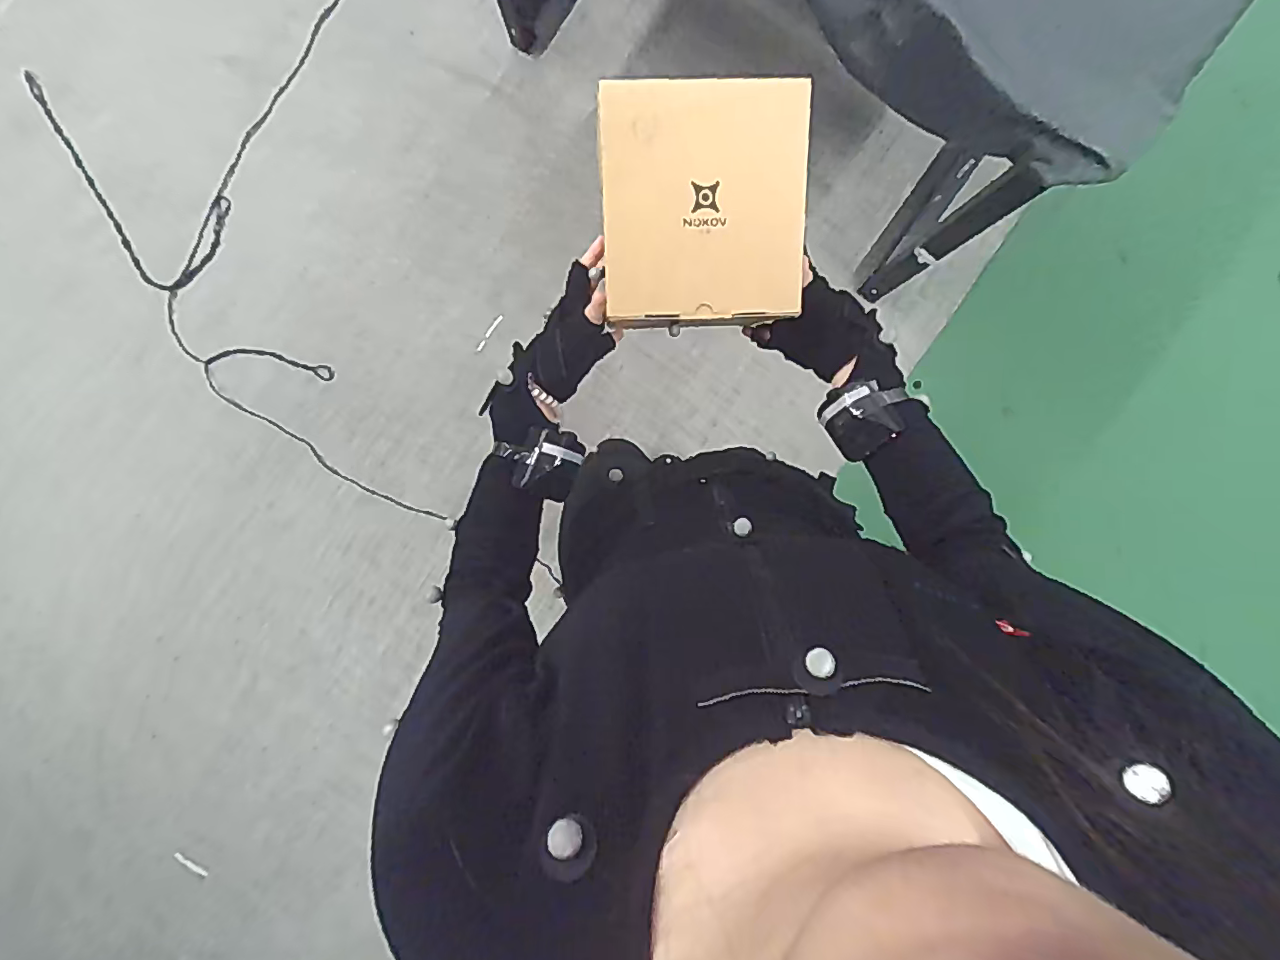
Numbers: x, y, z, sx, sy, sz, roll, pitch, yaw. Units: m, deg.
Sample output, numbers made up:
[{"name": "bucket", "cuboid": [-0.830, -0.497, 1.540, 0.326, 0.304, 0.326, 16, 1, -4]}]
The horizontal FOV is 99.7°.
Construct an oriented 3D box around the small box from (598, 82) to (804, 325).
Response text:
[{"name": "small box", "cuboid": [0.045, -0.244, 0.519, 0.168, 0.176, 0.179, -2, 105, -3]}]
